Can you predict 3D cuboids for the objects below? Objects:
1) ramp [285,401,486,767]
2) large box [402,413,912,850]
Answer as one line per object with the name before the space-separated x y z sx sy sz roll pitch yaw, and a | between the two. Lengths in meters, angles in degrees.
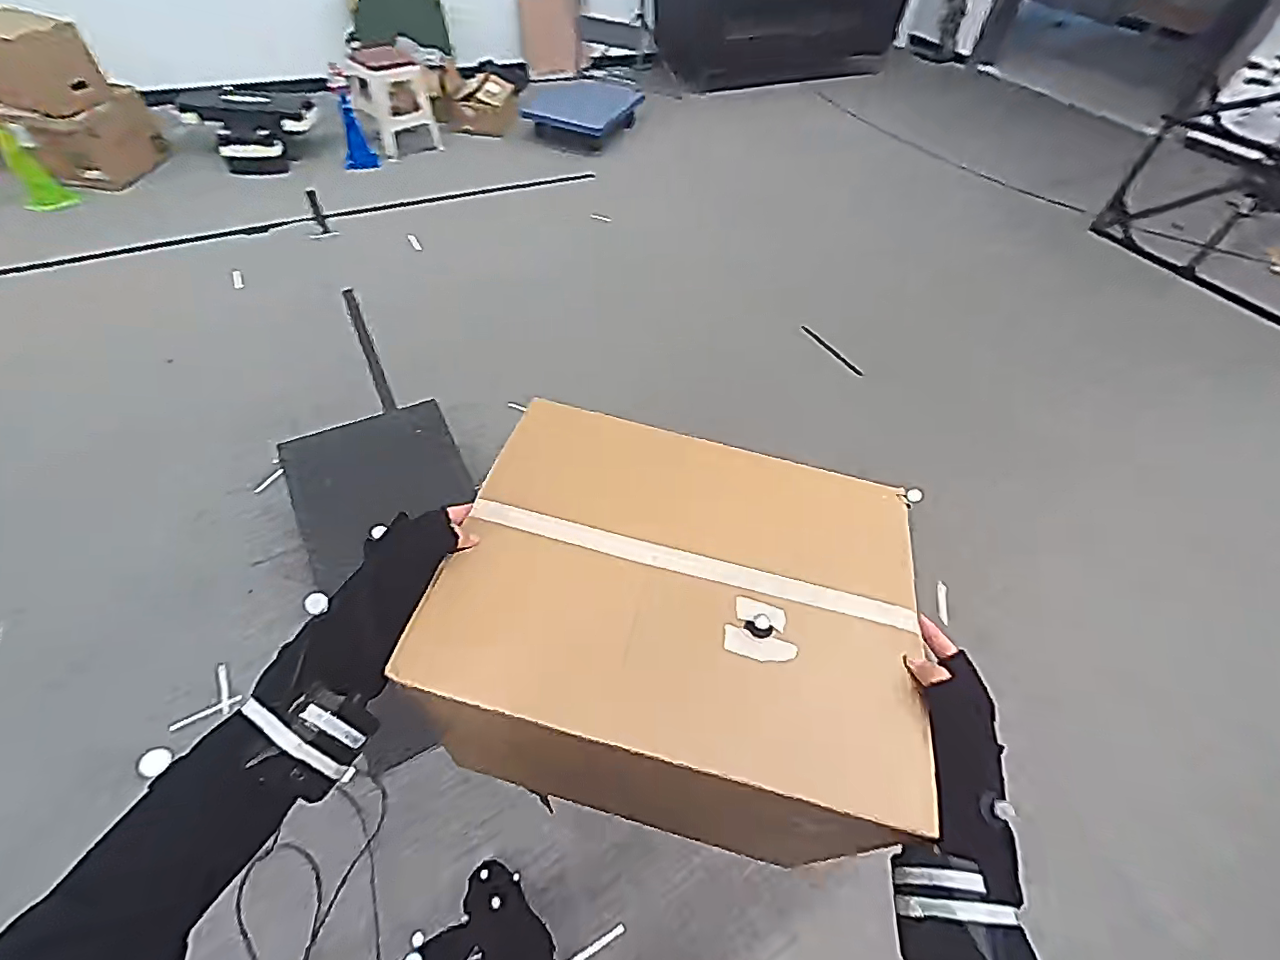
ramp | -0.647 0.214 1.566 0.509 0.206 0.991 -23 57 -23
large box | 0.021 0.174 0.611 0.408 0.320 0.320 14 51 3
